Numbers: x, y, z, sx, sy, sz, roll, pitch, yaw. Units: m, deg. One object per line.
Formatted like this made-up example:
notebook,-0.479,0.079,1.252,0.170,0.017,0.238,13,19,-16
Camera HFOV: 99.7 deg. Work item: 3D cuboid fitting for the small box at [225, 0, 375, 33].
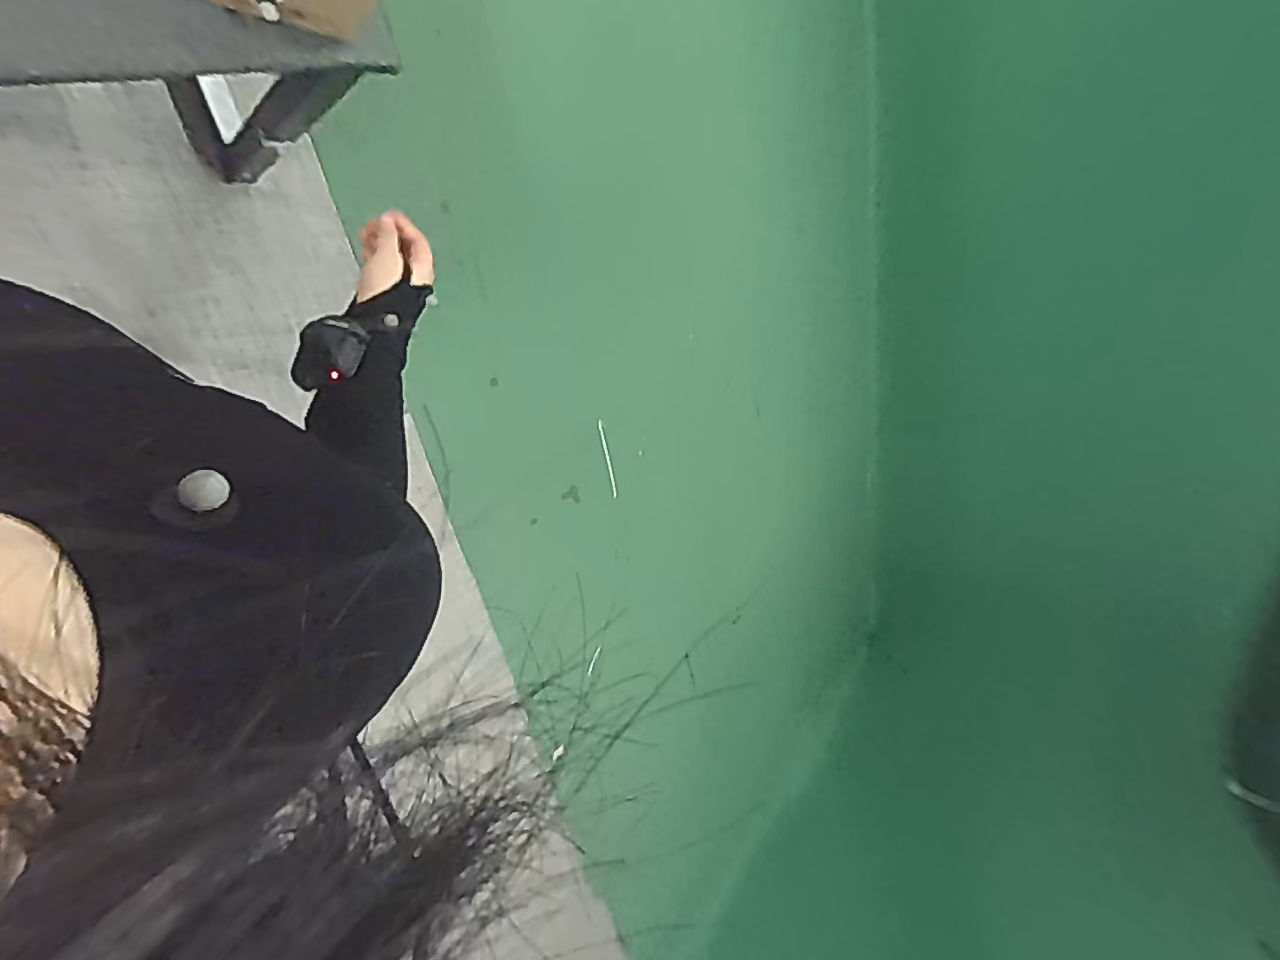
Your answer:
small box,-0.354,-0.586,0.517,0.168,0.176,0.179,-19,111,-41
